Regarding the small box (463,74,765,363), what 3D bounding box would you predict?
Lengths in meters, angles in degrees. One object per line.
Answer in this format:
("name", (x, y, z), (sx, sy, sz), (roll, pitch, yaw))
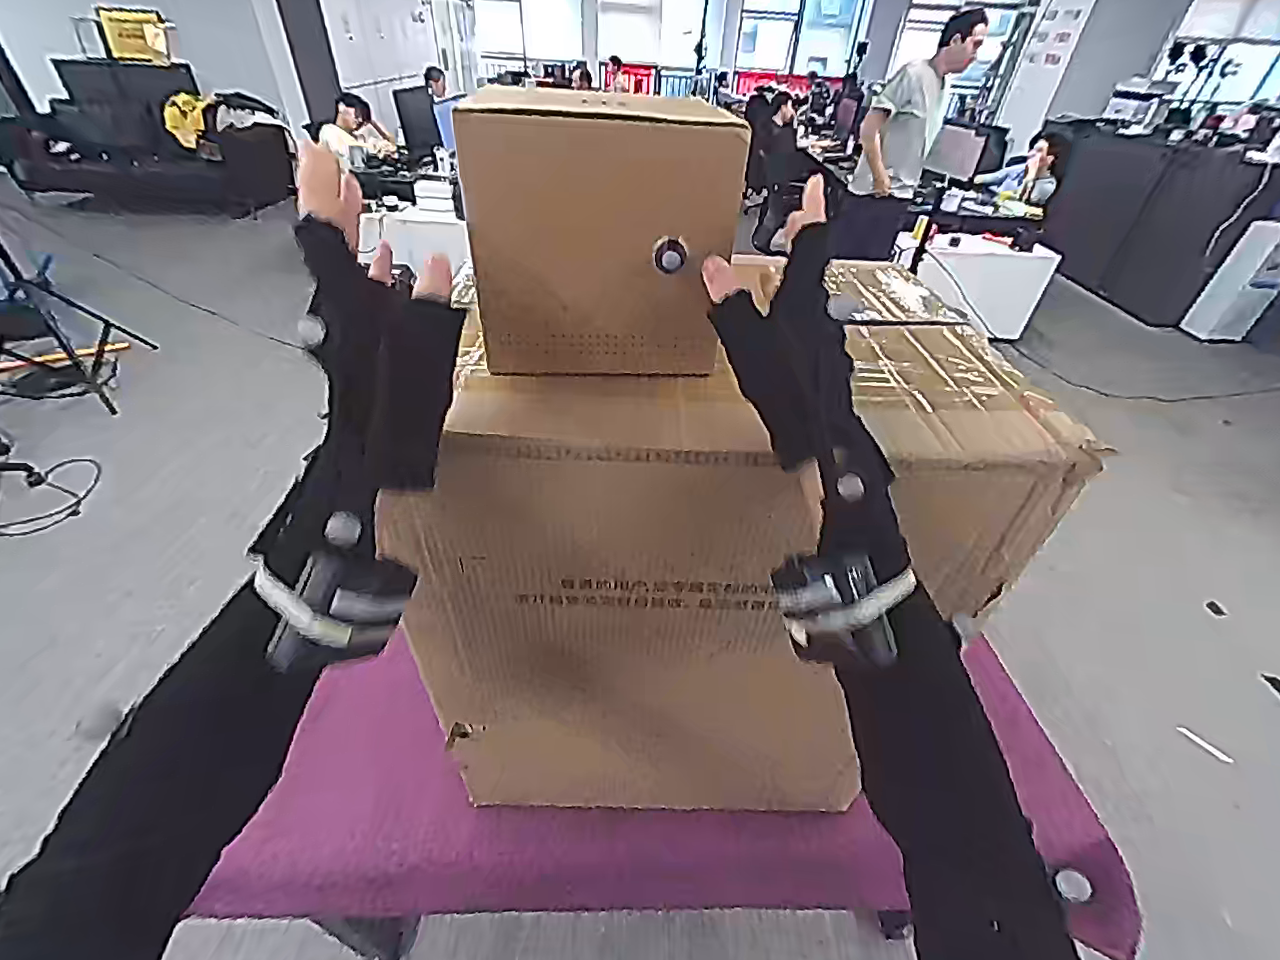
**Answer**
("small box", (-0.024, -0.200, 0.418), (0.179, 0.176, 0.168), (-2, 39, -6))
